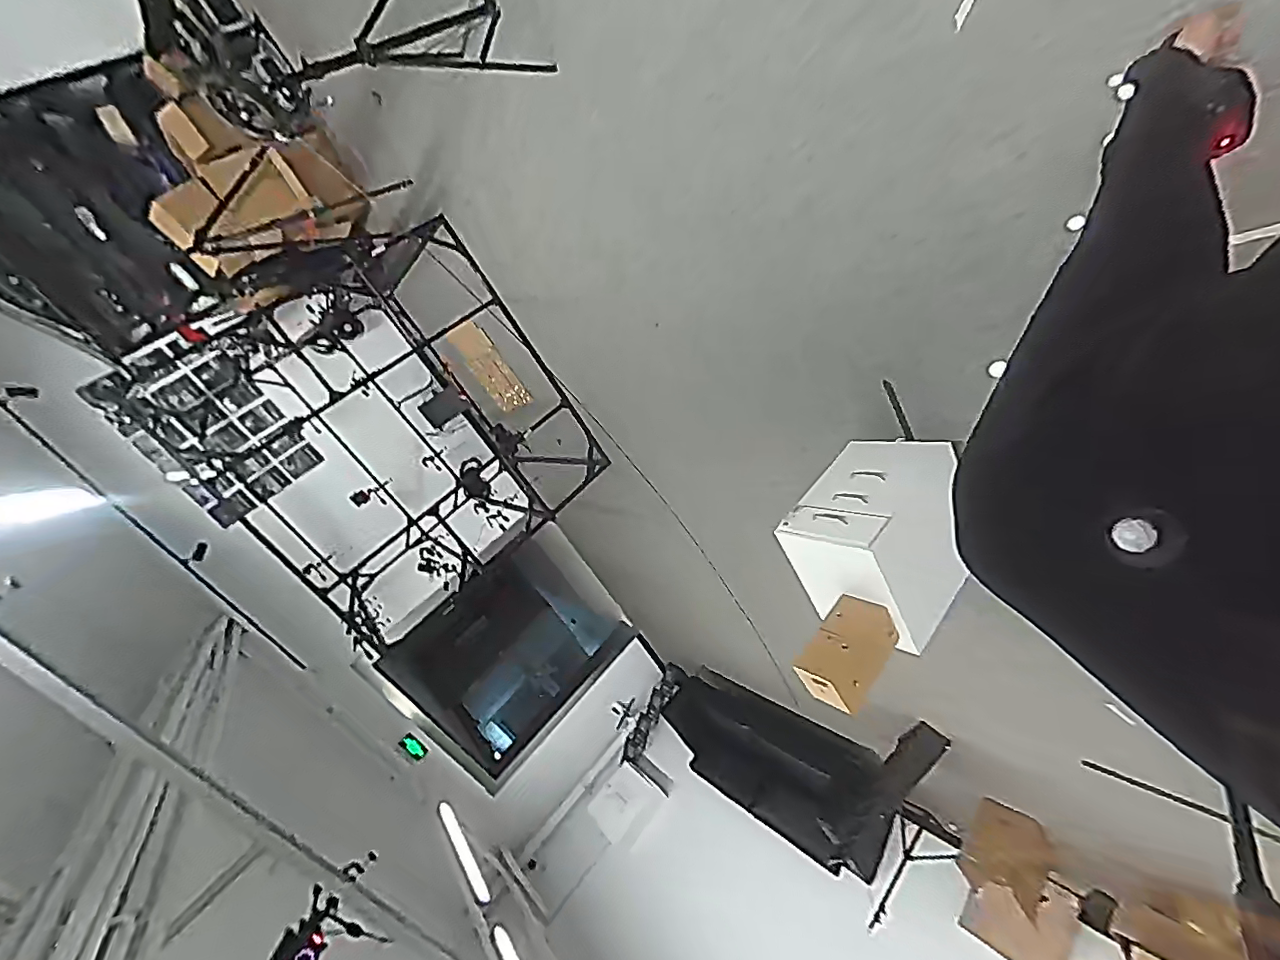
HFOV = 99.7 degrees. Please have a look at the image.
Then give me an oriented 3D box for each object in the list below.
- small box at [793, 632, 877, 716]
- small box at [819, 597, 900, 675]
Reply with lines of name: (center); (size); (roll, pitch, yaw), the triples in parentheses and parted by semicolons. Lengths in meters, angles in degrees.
small box: (0.651, 0.639, 1.801); (0.179, 0.176, 0.168); (54, 157, -21)
small box: (0.758, 0.530, 1.862); (0.179, 0.176, 0.168); (9, 137, 56)
